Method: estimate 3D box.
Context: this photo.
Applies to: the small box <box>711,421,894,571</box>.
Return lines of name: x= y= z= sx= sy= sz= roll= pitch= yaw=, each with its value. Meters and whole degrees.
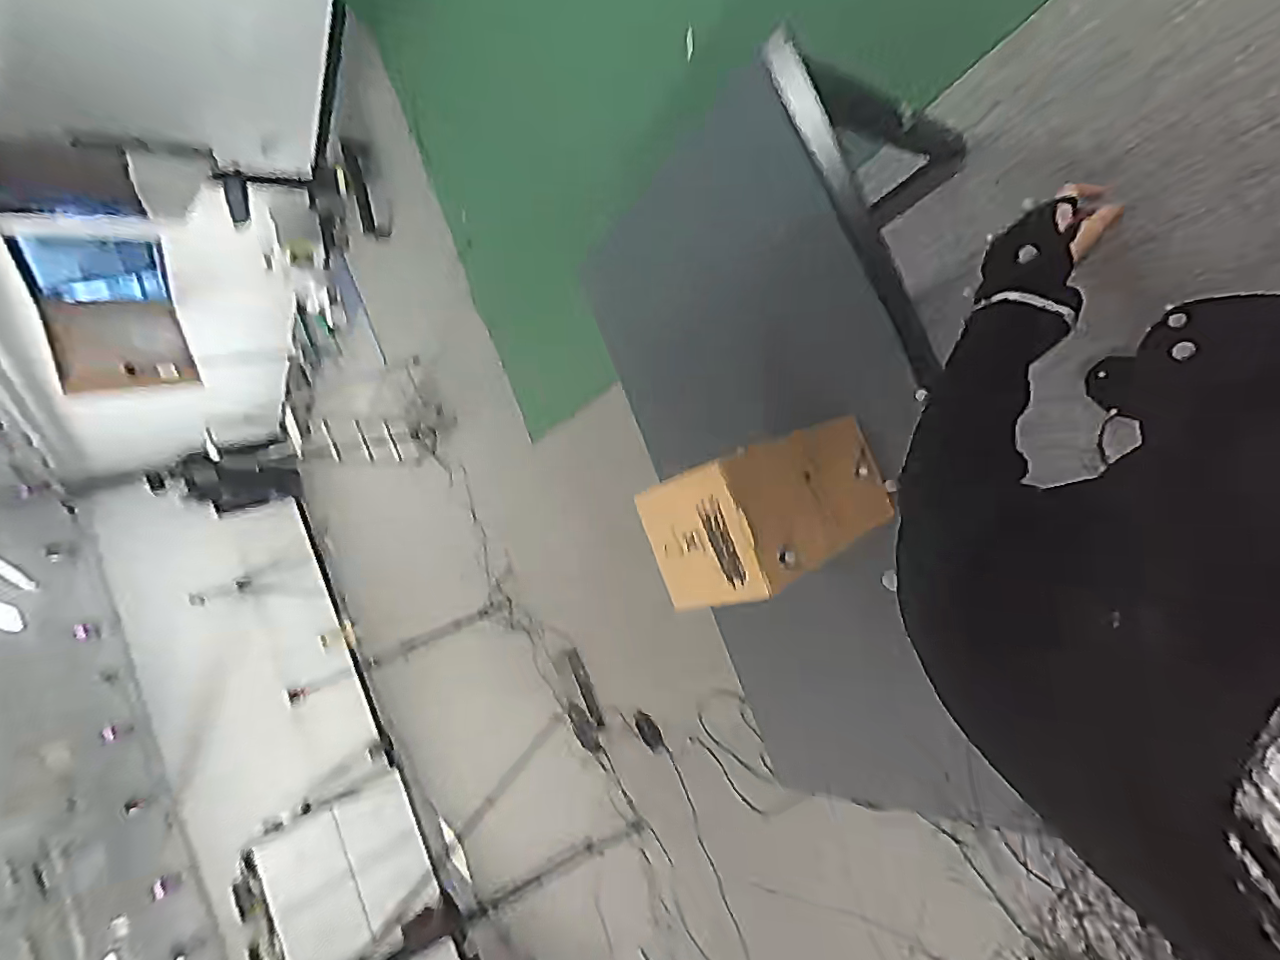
small box: x=0.246 y=0.024 z=0.821 sx=0.179 sy=0.176 sz=0.168 roll=-26 pitch=83 yaw=51
